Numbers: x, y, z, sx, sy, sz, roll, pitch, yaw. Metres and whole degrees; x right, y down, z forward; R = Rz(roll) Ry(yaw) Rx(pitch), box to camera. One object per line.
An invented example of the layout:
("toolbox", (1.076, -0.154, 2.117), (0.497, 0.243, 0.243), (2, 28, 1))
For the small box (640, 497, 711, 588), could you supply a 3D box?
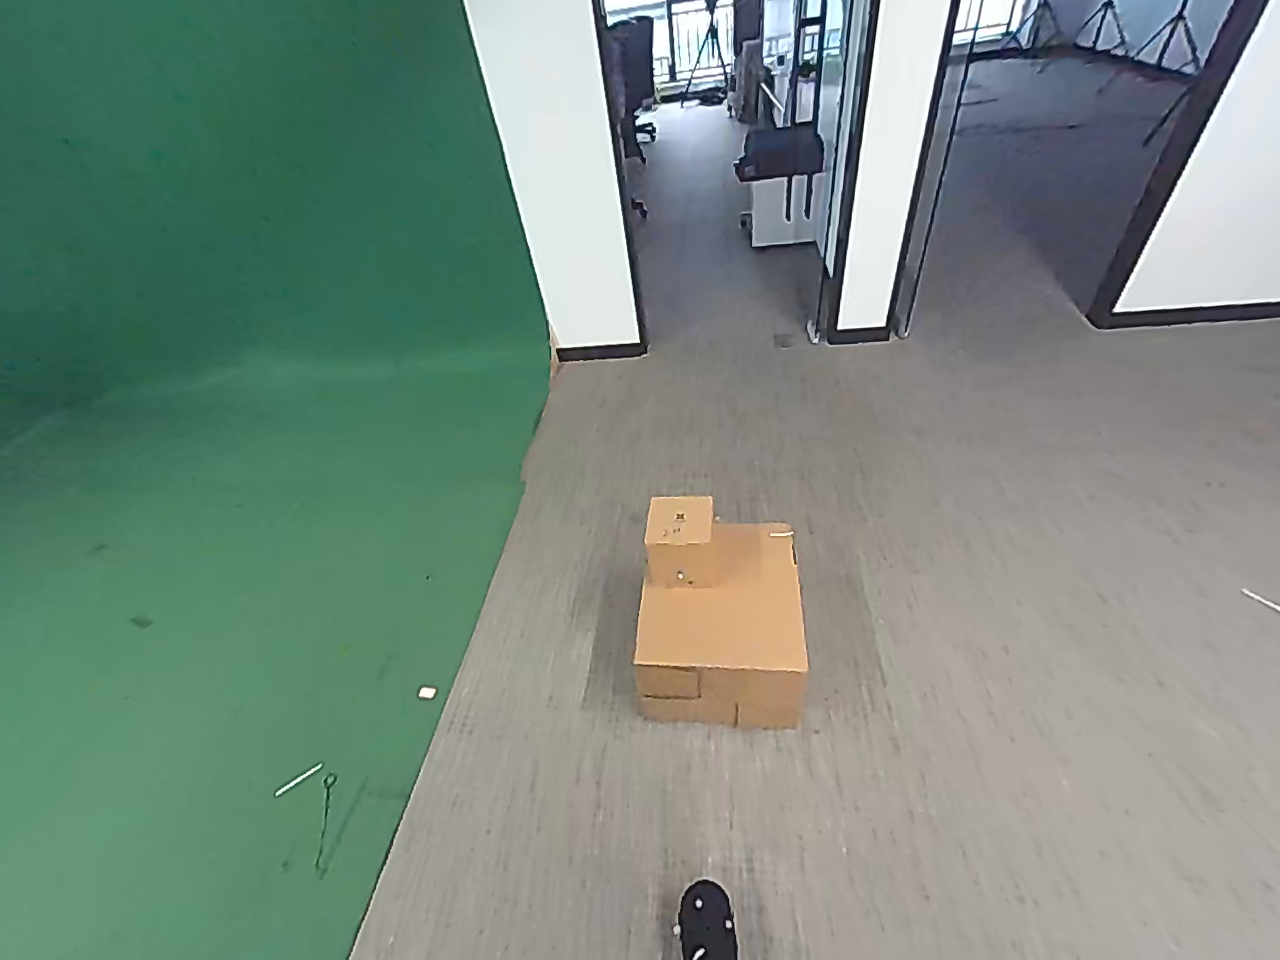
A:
("small box", (0.100, 0.164, 1.432), (0.168, 0.176, 0.179), (-2, 40, 10))
